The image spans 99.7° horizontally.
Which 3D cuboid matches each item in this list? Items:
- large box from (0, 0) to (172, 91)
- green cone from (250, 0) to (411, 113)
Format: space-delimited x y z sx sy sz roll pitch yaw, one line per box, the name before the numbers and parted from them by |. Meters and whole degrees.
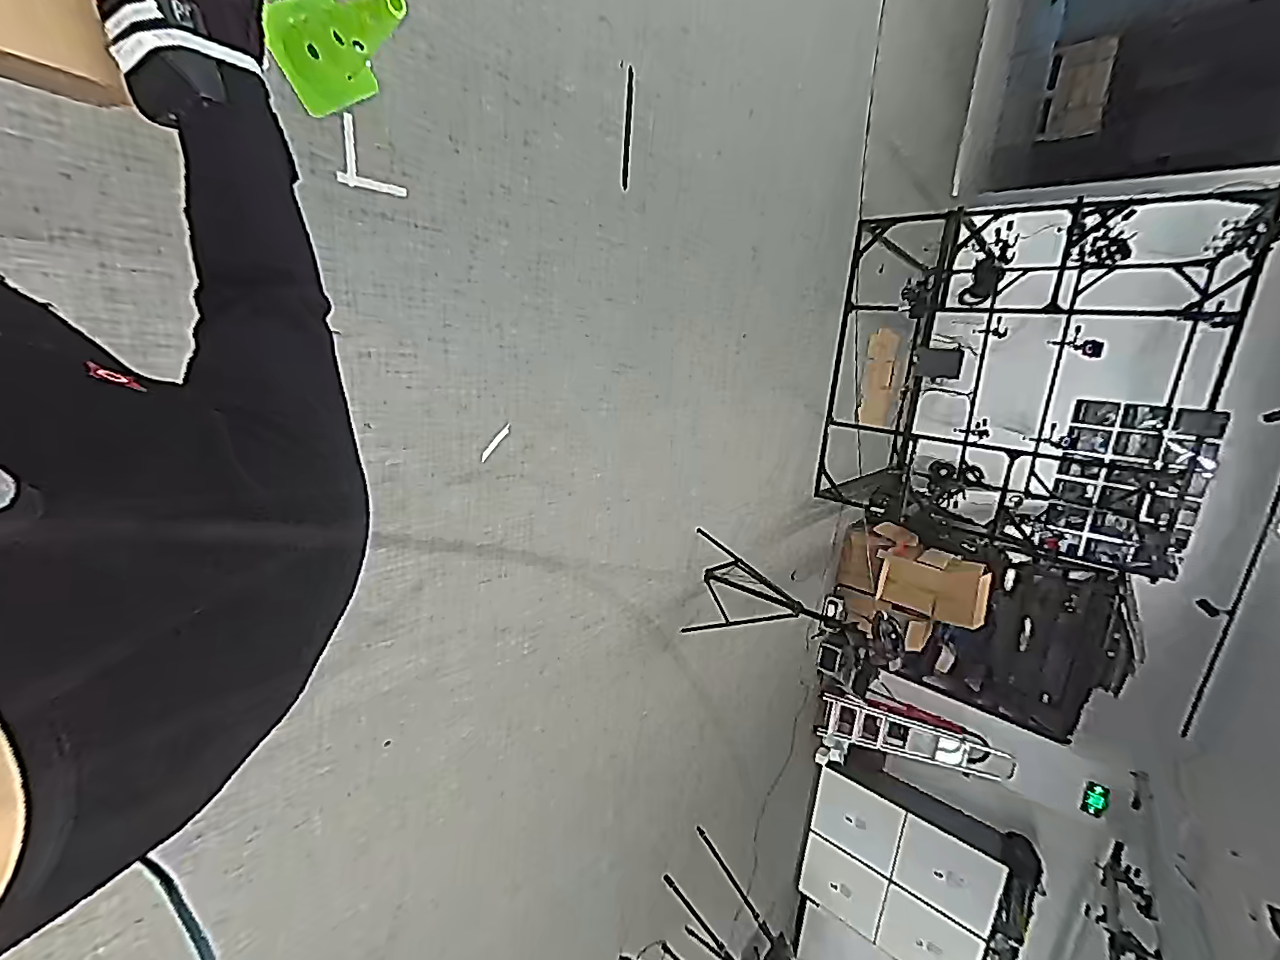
large box | -0.555 -0.469 0.289 0.408 0.320 0.320 -9 121 -50
green cone | -0.586 -0.922 1.106 0.202 0.368 0.200 -52 138 -29
